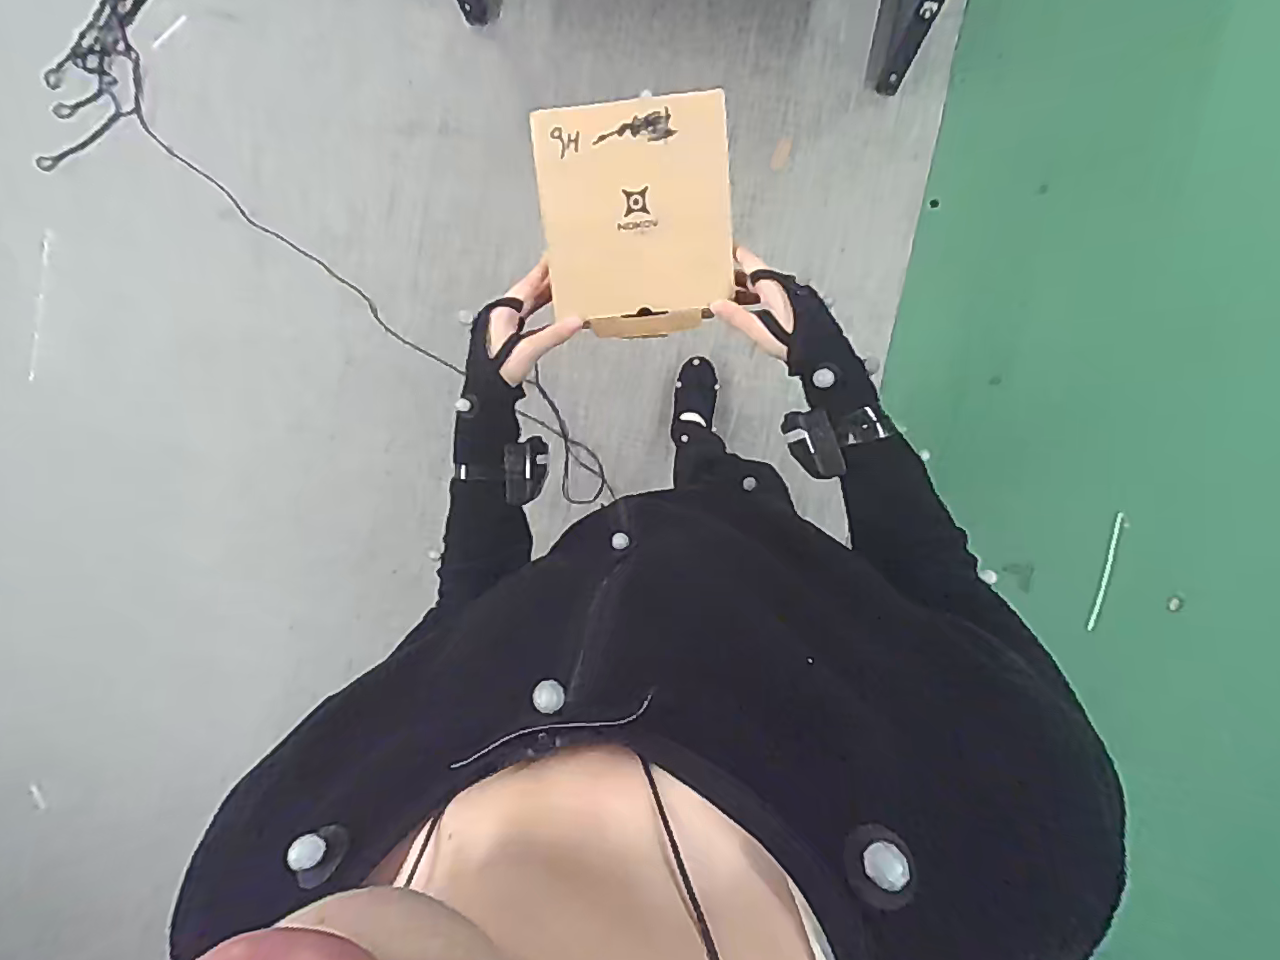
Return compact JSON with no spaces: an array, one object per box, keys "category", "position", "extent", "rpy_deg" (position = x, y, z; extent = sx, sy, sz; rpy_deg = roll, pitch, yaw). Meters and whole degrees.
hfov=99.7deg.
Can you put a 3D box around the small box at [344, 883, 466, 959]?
[{"category":"small box","position":[-0.463,0.952,1.086],"extent":[0.168,0.176,0.179],"rpy_deg":[-3,92,6]}]
